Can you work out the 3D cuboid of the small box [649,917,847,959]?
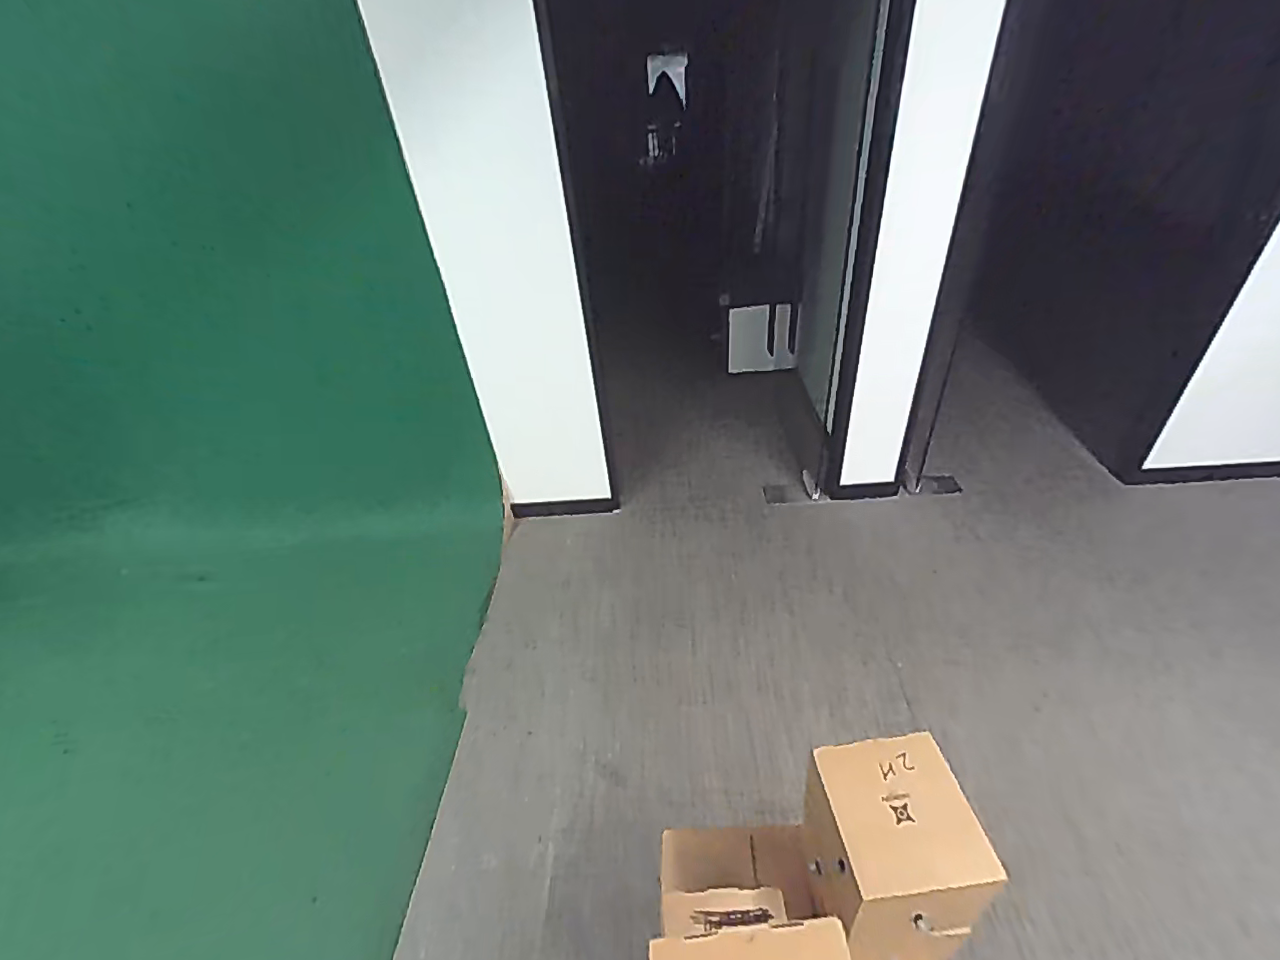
[{"bbox_3d":[0.103,0.501,0.454,0.168,0.176,0.179,-7,40,1],"label":"small box"}]

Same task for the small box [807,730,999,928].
[{"bbox_3d":[0.332,0.470,0.725,0.168,0.176,0.179,-8,36,1],"label":"small box"}]
